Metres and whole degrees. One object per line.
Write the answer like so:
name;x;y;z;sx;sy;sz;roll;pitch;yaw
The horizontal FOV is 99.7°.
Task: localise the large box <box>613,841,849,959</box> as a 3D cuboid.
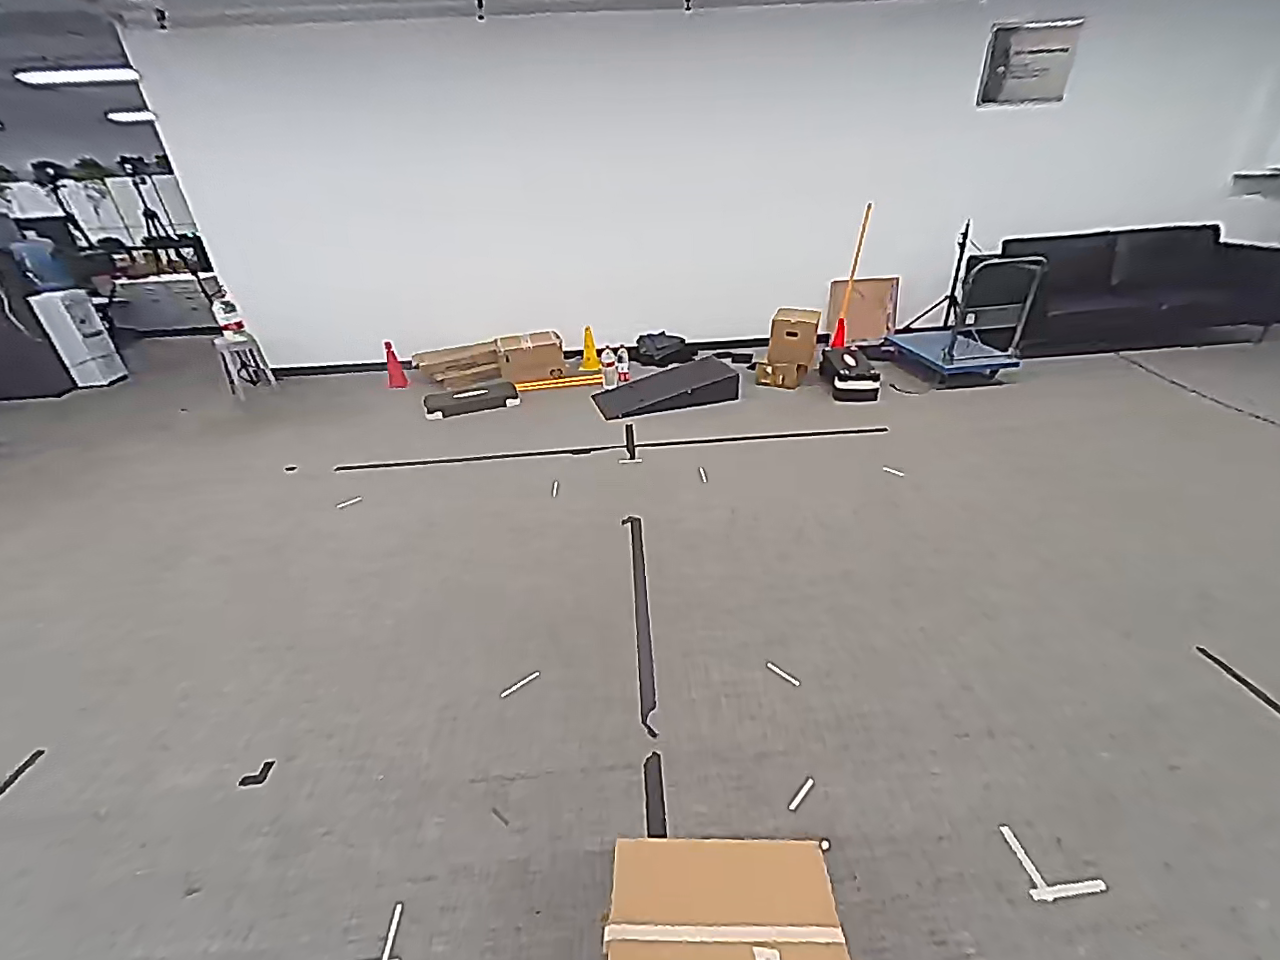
large box;0.155;0.918;1.003;0.408;0.320;0.320;-1;30;2
